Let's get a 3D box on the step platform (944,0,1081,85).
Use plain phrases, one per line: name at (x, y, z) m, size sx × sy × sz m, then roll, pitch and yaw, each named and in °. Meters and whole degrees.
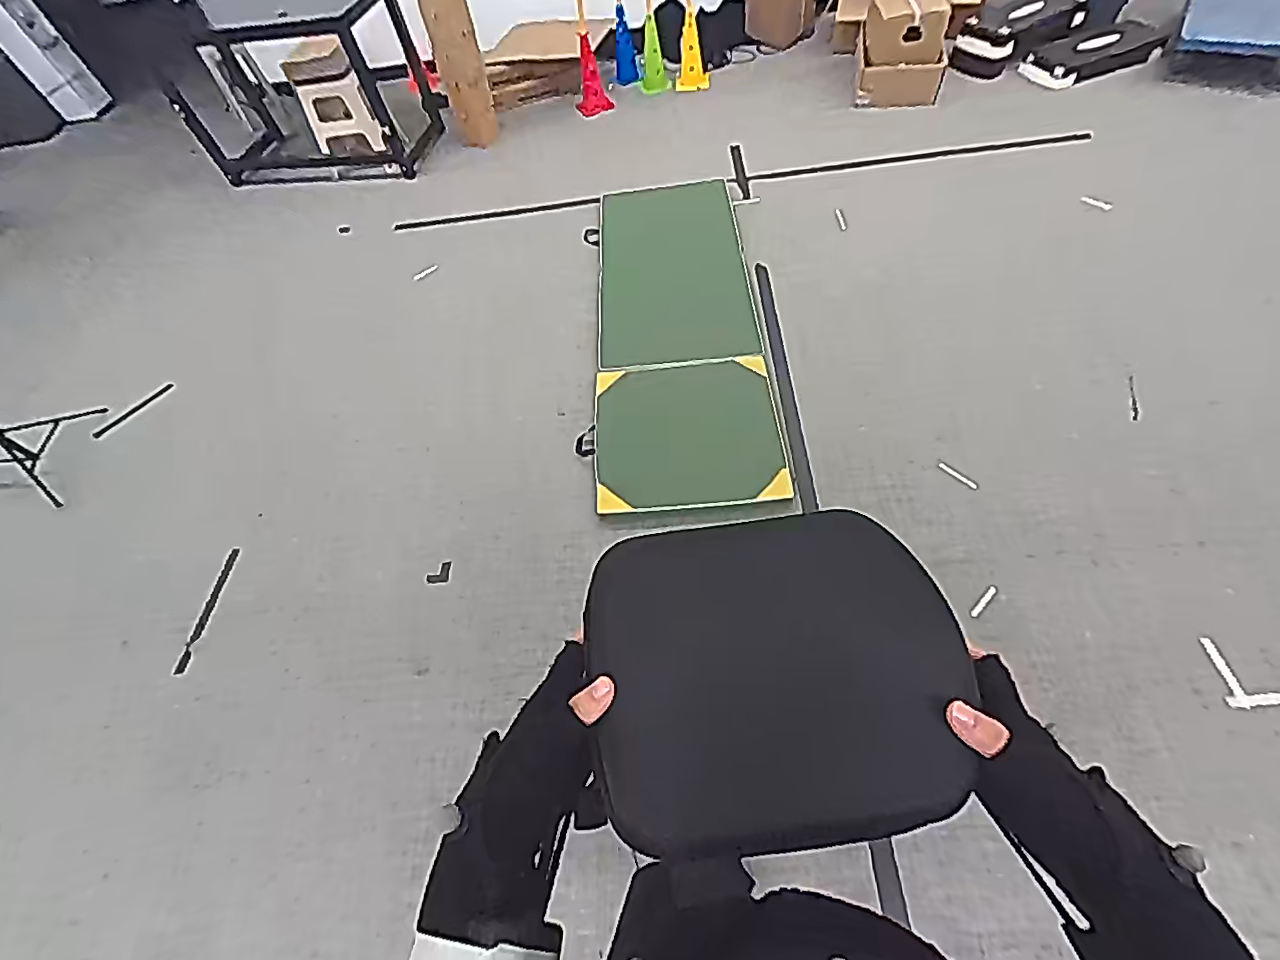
step platform at (2.025, -2.401, 2.942) m, size 0.684 × 0.204 × 0.286 m, roll -30°, pitch 58°, yaw -11°
